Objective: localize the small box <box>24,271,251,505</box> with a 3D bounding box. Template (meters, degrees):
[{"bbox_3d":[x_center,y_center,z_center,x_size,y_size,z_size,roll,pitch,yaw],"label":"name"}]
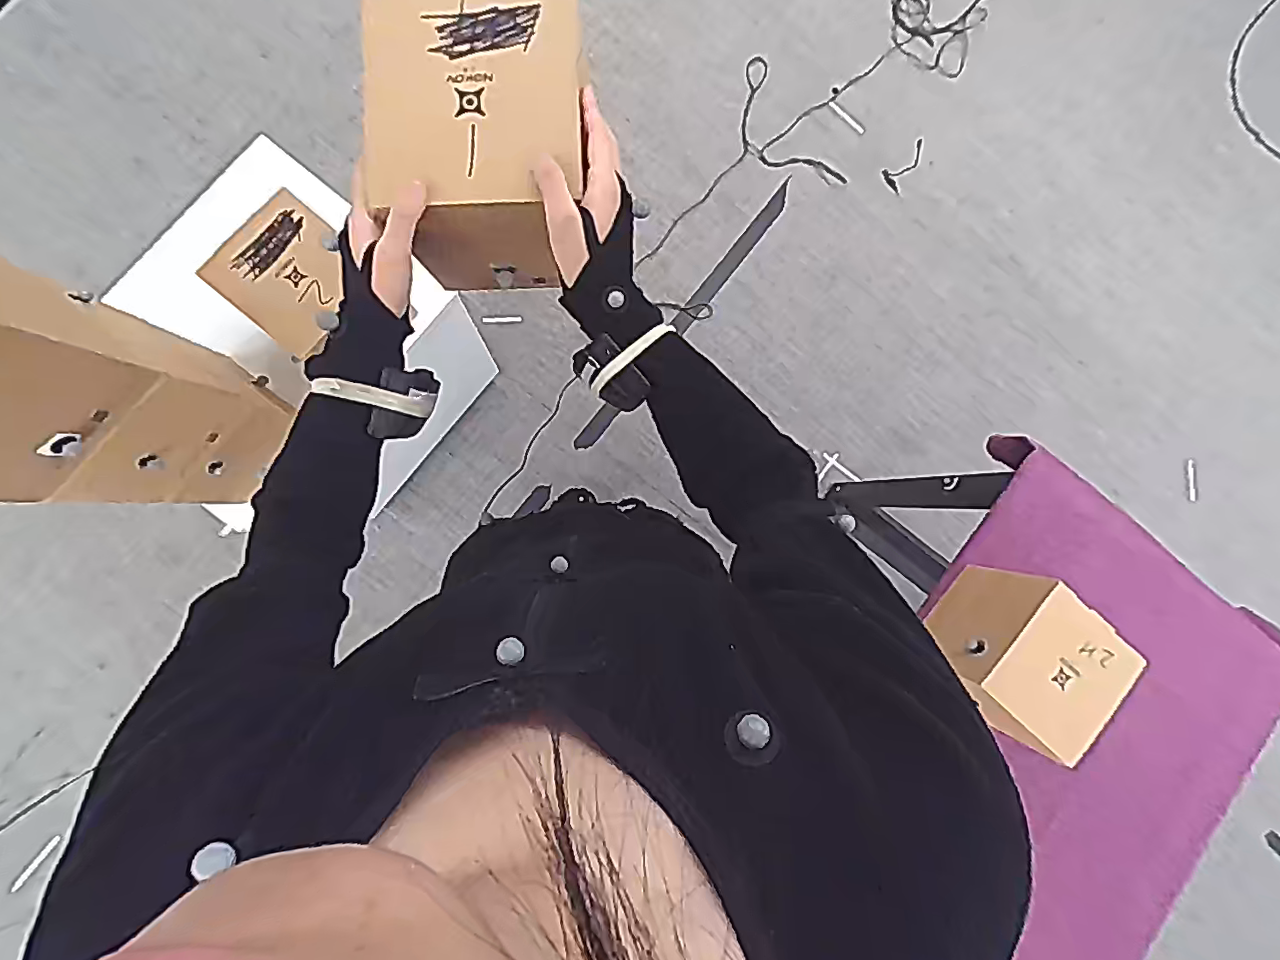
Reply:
[{"bbox_3d":[-0.597,-0.089,0.603,0.179,0.176,0.168,38,83,-4],"label":"small box"}]

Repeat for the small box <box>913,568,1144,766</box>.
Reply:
[{"bbox_3d":[0.525,0.247,0.761,0.168,0.176,0.179,42,83,-4],"label":"small box"}]

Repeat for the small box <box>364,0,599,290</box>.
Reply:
[{"bbox_3d":[-0.126,-0.289,0.487,0.168,0.176,0.179,-2,88,0],"label":"small box"}]

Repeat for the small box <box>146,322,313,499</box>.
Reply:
[{"bbox_3d":[-0.619,-0.083,0.765,0.179,0.176,0.168,39,83,-3],"label":"small box"}]

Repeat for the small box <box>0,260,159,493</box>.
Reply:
[{"bbox_3d":[-0.576,-0.098,0.442,0.179,0.176,0.168,37,84,-5],"label":"small box"}]
